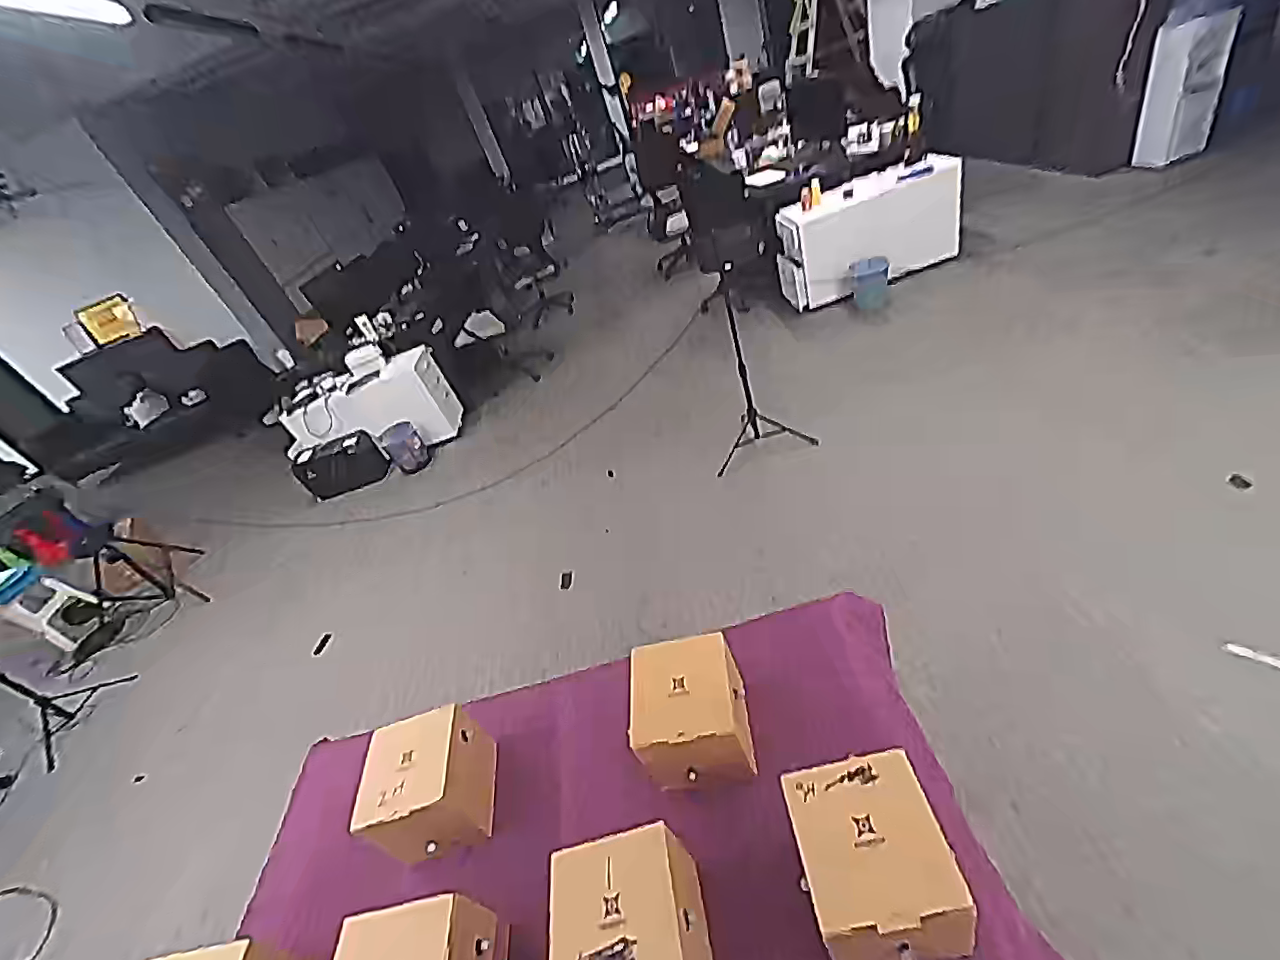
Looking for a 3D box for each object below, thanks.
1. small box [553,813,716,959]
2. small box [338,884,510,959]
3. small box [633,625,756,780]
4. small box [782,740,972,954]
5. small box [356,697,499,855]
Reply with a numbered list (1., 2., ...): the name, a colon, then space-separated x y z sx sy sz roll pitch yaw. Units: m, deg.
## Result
1. small box: -0.005 0.584 0.714 0.168 0.176 0.179 -19 35 5
2. small box: -0.295 0.689 0.739 0.179 0.176 0.168 -18 36 6
3. small box: 0.092 0.381 0.924 0.168 0.176 0.179 -15 38 12
4. small box: 0.296 0.471 0.690 0.168 0.176 0.179 -17 35 9
5. small box: -0.369 0.534 0.978 0.168 0.176 0.179 -21 36 4
